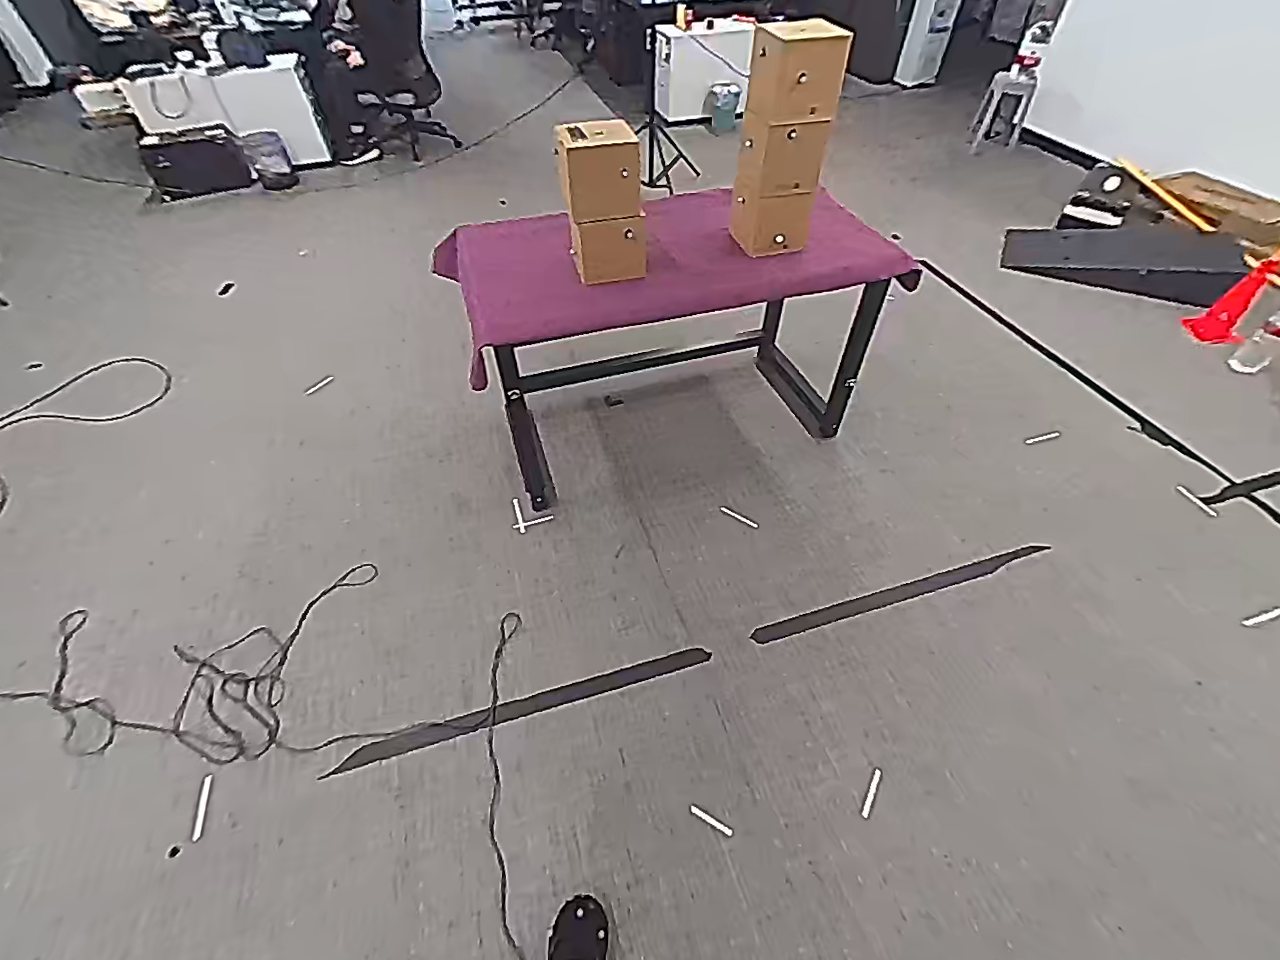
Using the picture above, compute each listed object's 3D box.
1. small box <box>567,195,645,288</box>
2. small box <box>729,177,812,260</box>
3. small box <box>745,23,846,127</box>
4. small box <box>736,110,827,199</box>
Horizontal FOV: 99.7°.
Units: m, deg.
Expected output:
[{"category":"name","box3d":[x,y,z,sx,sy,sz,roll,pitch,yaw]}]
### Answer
[{"category":"small box","box3d":[-0.090,-0.640,1.455,0.179,0.176,0.168,-12,49,-9]},{"category":"small box","box3d":[0.363,-0.756,1.548,0.168,0.176,0.179,-12,50,-9]},{"category":"small box","box3d":[0.362,-0.963,1.294,0.168,0.176,0.179,-11,49,-7]},{"category":"small box","box3d":[0.362,-0.860,1.421,0.168,0.176,0.179,-11,49,-7]}]
